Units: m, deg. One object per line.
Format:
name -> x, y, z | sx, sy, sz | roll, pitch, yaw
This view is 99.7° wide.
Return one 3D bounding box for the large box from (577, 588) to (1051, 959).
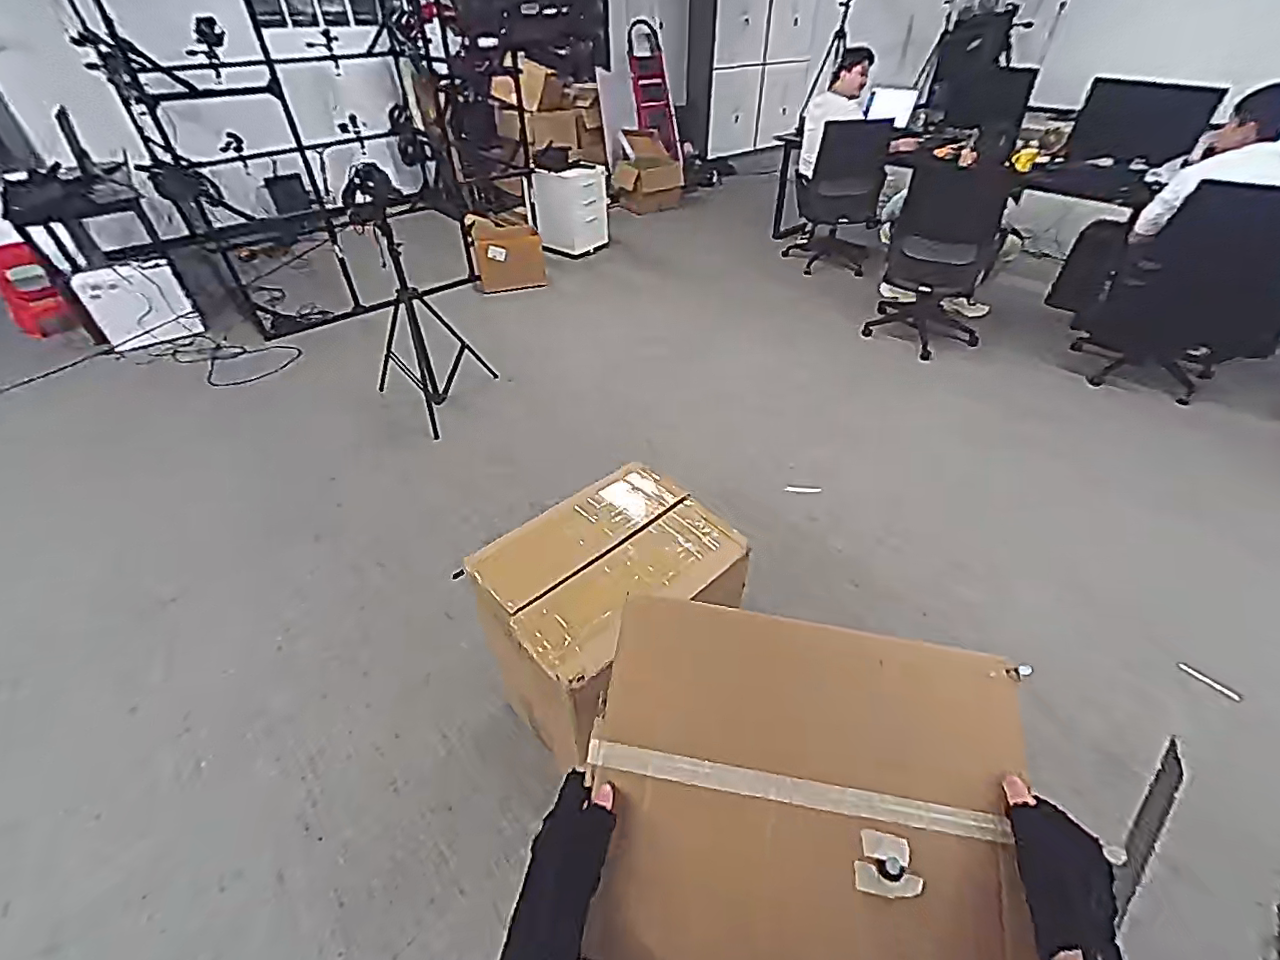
large box -> 0.158, 0.341, 0.639 | 0.408, 0.320, 0.320 | 9, 66, 3
